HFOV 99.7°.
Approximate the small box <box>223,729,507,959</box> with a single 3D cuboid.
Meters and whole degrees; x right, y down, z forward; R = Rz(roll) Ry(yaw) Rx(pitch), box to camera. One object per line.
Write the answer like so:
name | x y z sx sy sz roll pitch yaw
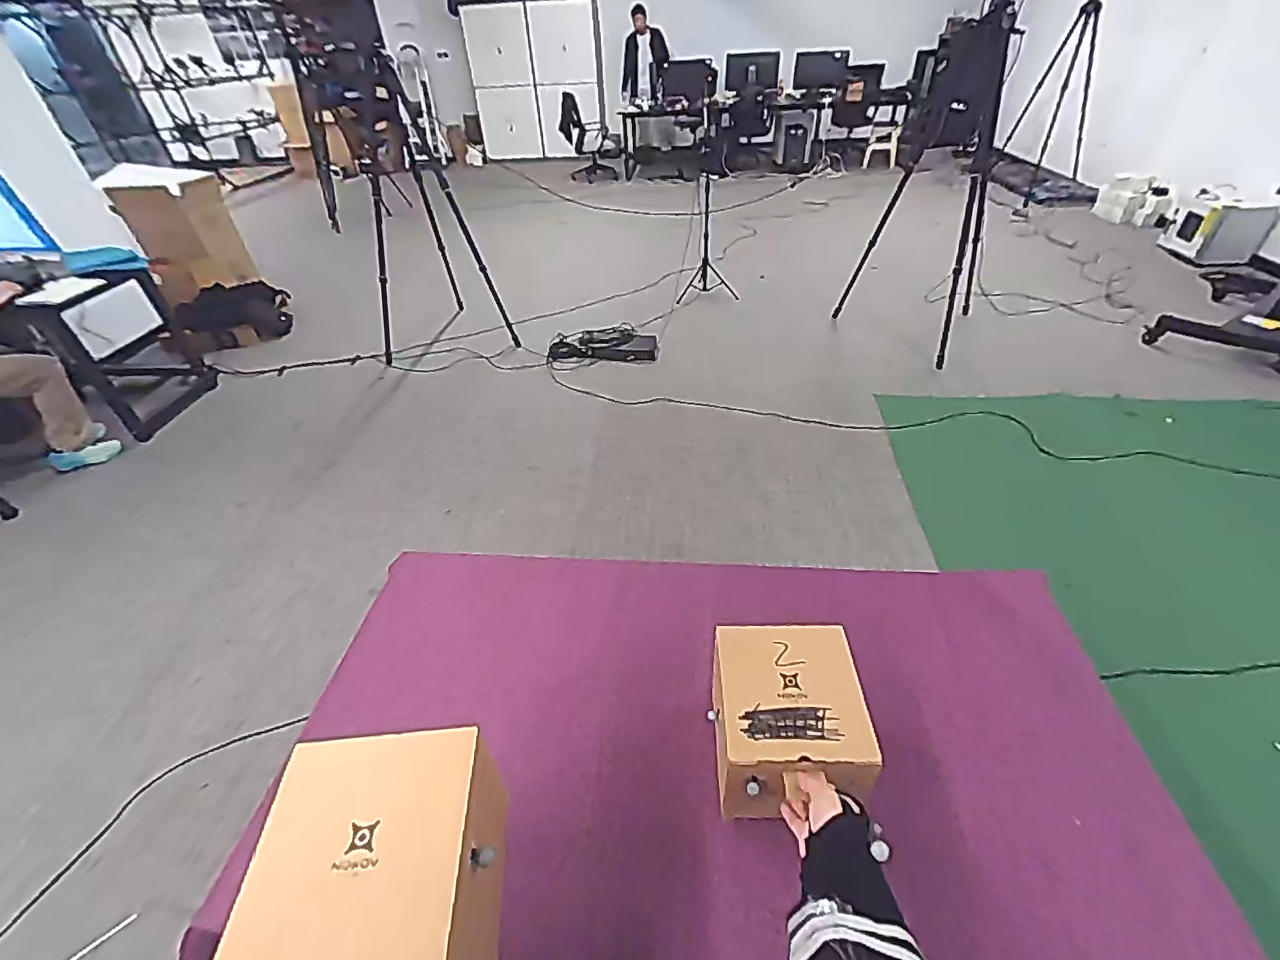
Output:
small box | -0.223 0.358 0.497 0.168 0.176 0.179 -4 41 -3
